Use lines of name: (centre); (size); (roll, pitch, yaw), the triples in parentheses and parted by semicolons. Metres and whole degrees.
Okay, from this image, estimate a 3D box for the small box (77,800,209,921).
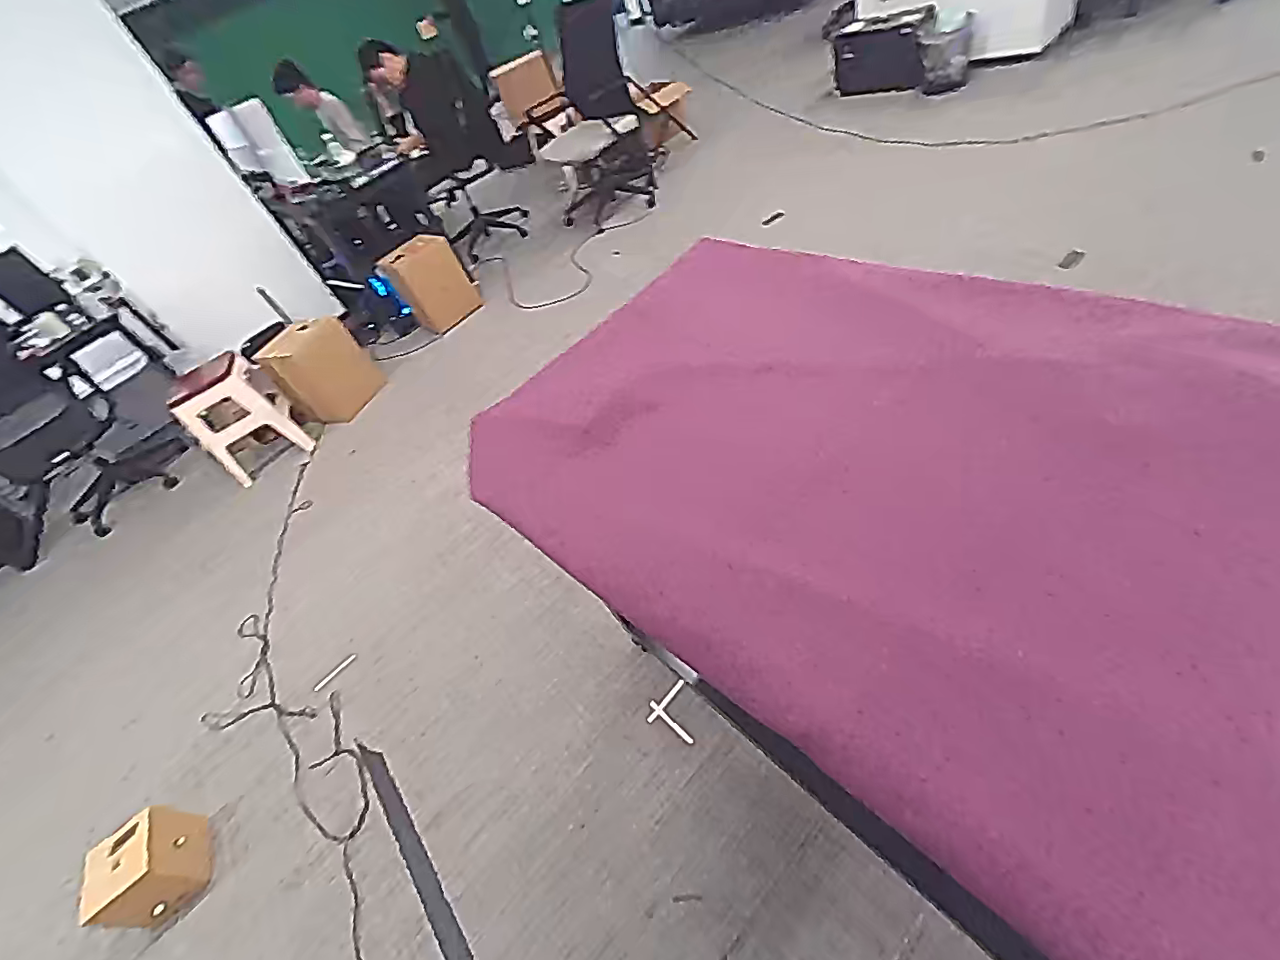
small box: (-1.196, 0.930, 1.318); (0.168, 0.176, 0.179); (-39, 47, -12)
